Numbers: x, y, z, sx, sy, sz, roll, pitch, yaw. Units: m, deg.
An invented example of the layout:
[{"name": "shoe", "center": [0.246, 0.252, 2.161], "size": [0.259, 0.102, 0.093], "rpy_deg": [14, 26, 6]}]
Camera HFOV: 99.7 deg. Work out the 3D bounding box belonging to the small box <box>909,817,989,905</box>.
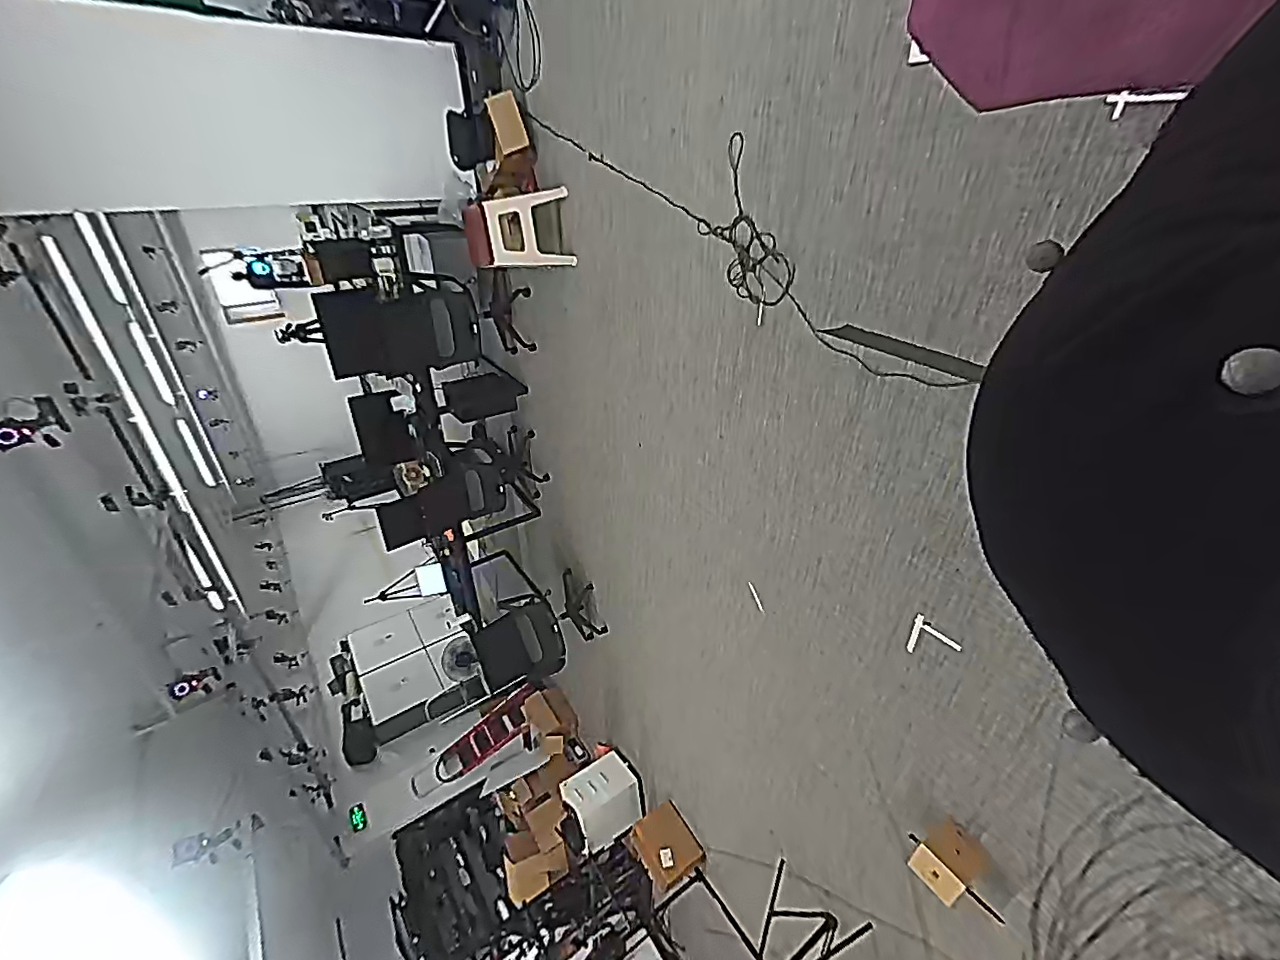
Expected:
[{"name": "small box", "center": [1.112, 1.362, 1.941], "size": [0.168, 0.176, 0.179], "rpy_deg": [40, 140, 42]}]
